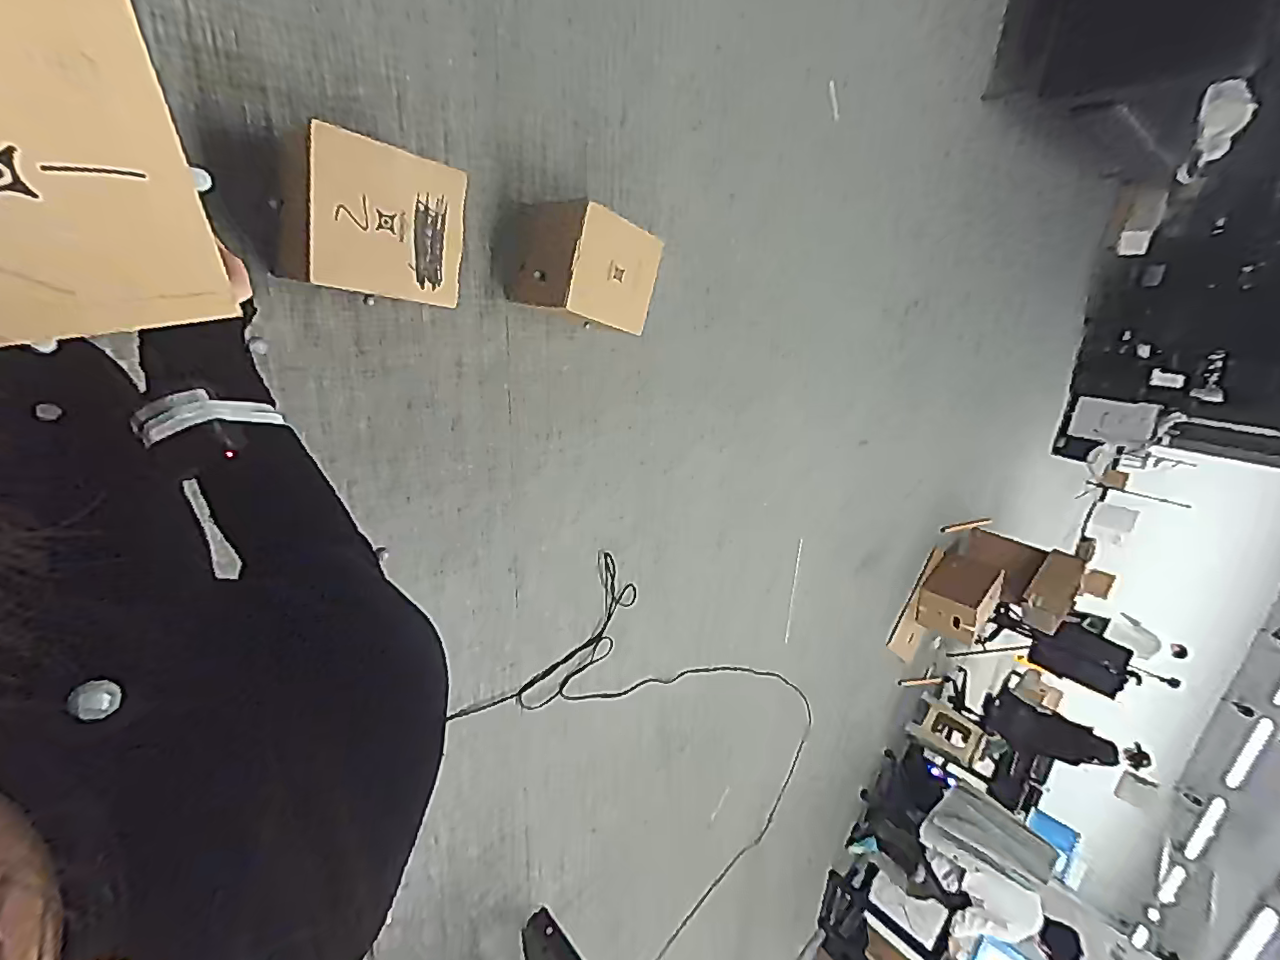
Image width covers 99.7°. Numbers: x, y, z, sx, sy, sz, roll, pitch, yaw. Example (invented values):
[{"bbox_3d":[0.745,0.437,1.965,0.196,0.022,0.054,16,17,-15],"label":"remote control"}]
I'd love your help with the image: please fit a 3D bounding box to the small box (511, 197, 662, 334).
[{"bbox_3d":[-0.096,-0.360,0.928,0.179,0.176,0.168,5,104,-47],"label":"small box"}]
